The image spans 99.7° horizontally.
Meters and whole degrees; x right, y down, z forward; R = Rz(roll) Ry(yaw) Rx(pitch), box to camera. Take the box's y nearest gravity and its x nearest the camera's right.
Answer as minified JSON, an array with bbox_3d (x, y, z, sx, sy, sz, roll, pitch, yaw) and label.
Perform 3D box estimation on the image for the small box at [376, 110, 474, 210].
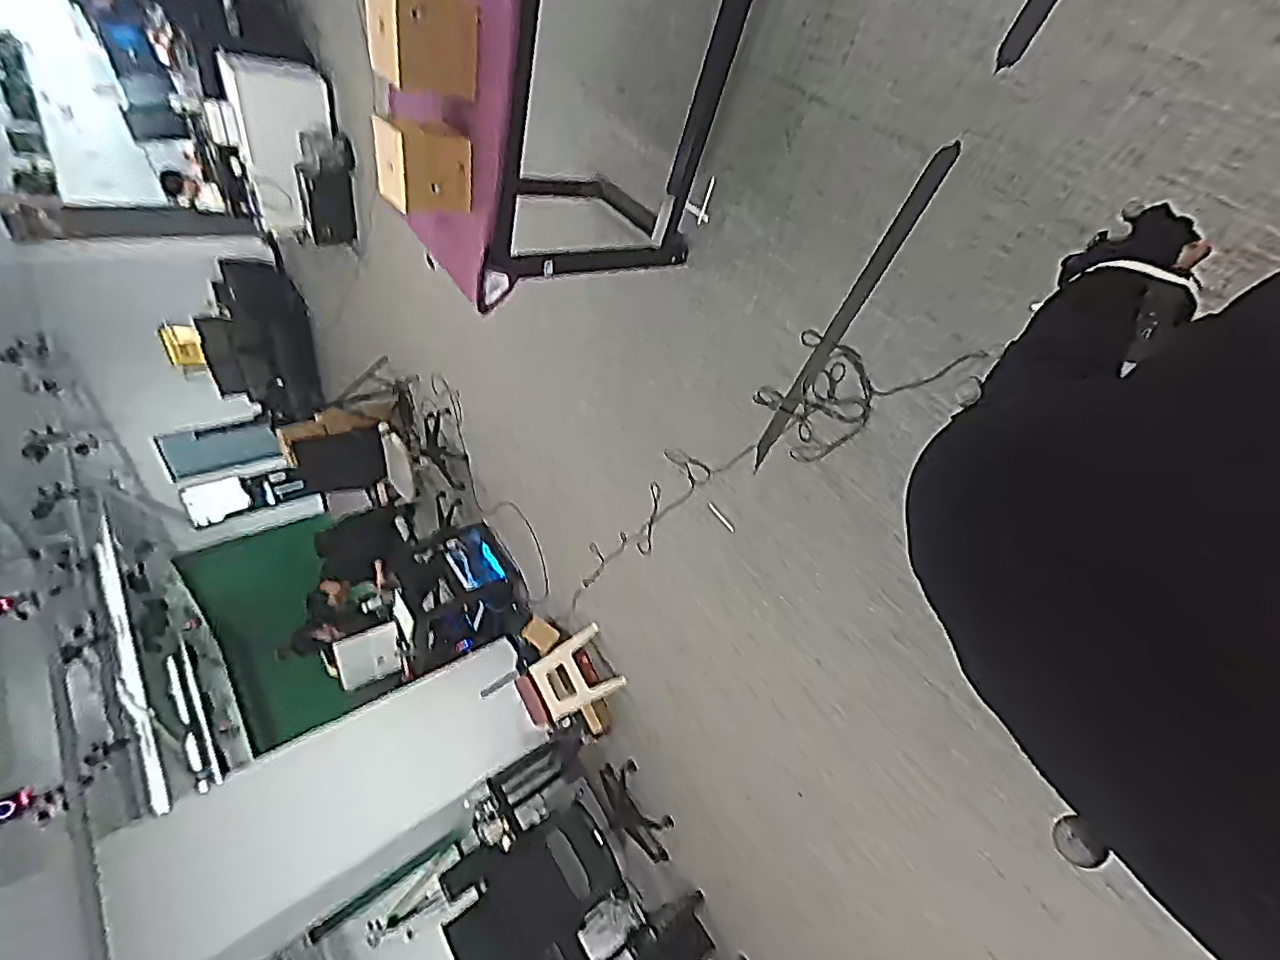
[{"bbox_3d":[-0.514,-0.773,1.310,0.179,0.176,0.168,45,138,31],"label":"small box"}]

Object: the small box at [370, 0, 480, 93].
[{"bbox_3d":[-0.448,-0.945,1.132,0.168,0.176,0.179,47,139,29],"label":"small box"}]
